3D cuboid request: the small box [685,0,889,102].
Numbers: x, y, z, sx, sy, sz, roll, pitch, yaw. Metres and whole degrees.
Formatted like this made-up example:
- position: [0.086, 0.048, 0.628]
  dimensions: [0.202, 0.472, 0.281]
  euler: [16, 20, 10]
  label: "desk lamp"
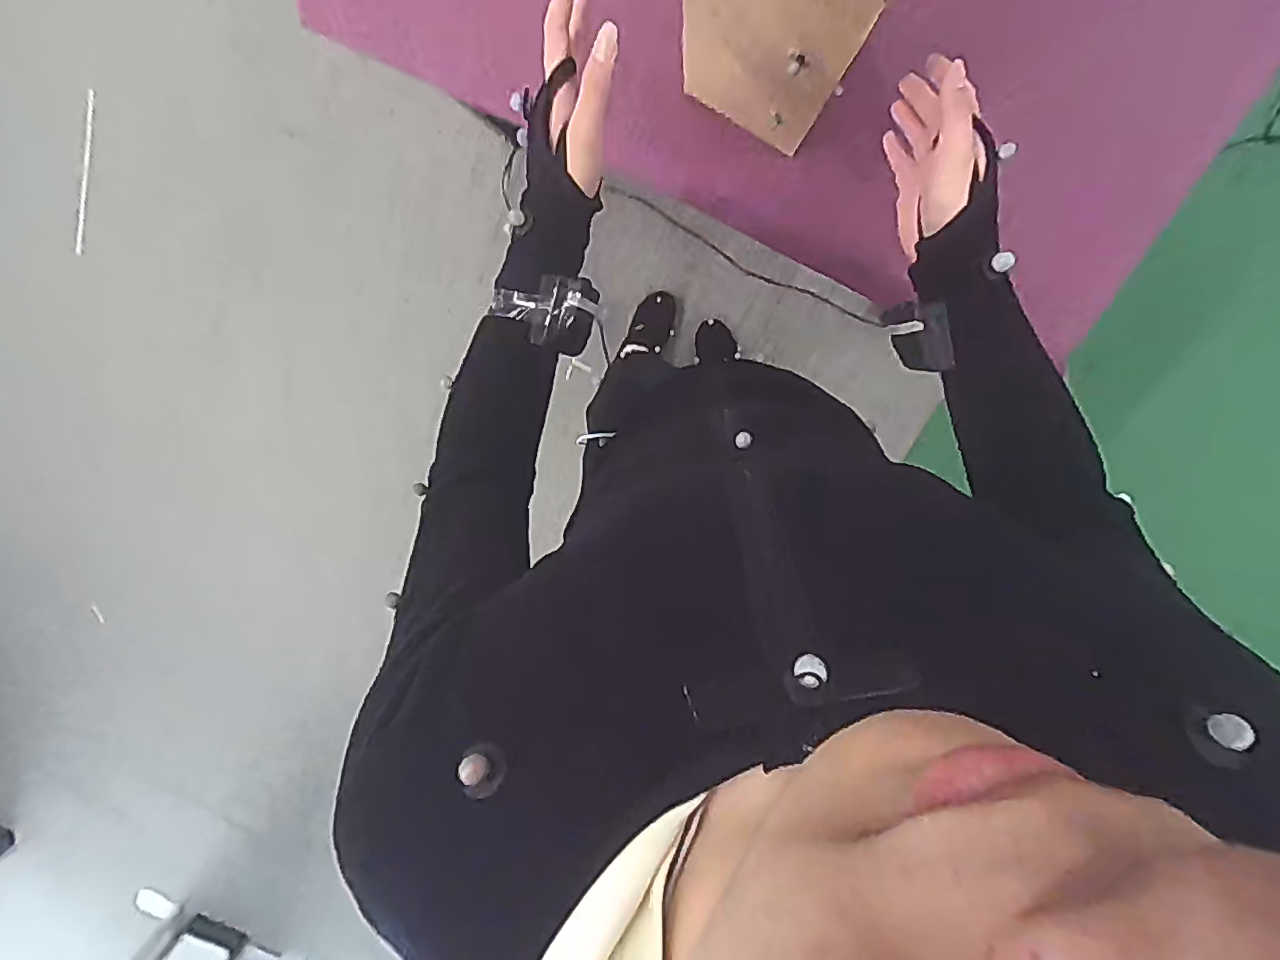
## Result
- position: [0.153, -0.487, 0.491]
  dimensions: [0.179, 0.176, 0.168]
  euler: [30, 107, -3]
  label: "small box"
